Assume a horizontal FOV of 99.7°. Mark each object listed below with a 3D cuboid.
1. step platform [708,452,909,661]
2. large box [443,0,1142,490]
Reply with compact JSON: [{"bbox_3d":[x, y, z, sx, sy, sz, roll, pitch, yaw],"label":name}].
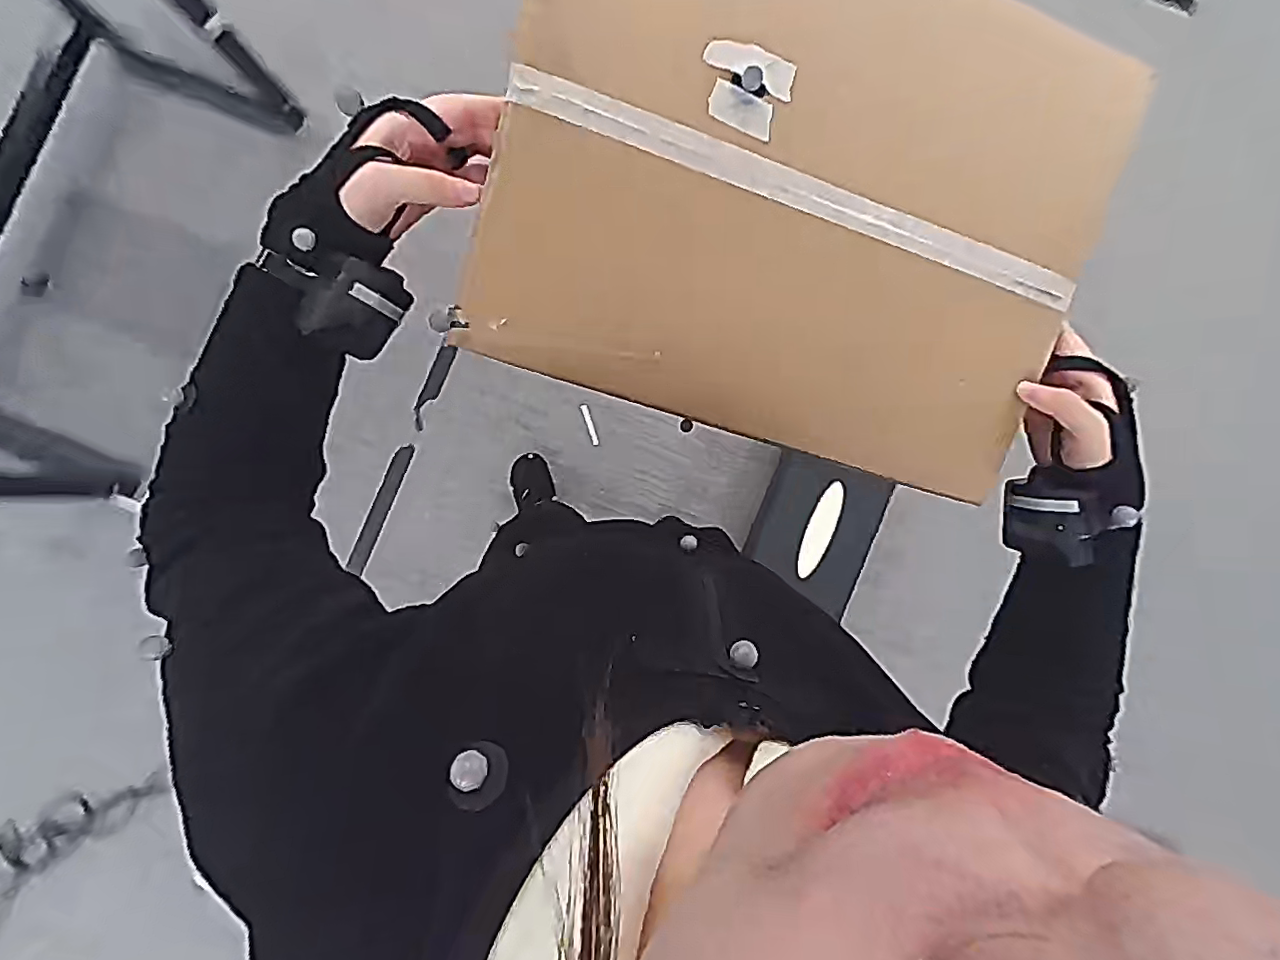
[{"bbox_3d":[0.453,0.110,1.409,0.286,0.204,0.684,28,87,0],"label":"step platform"},{"bbox_3d":[0.088,-0.208,0.495,0.408,0.320,0.320,14,98,-8],"label":"large box"}]
